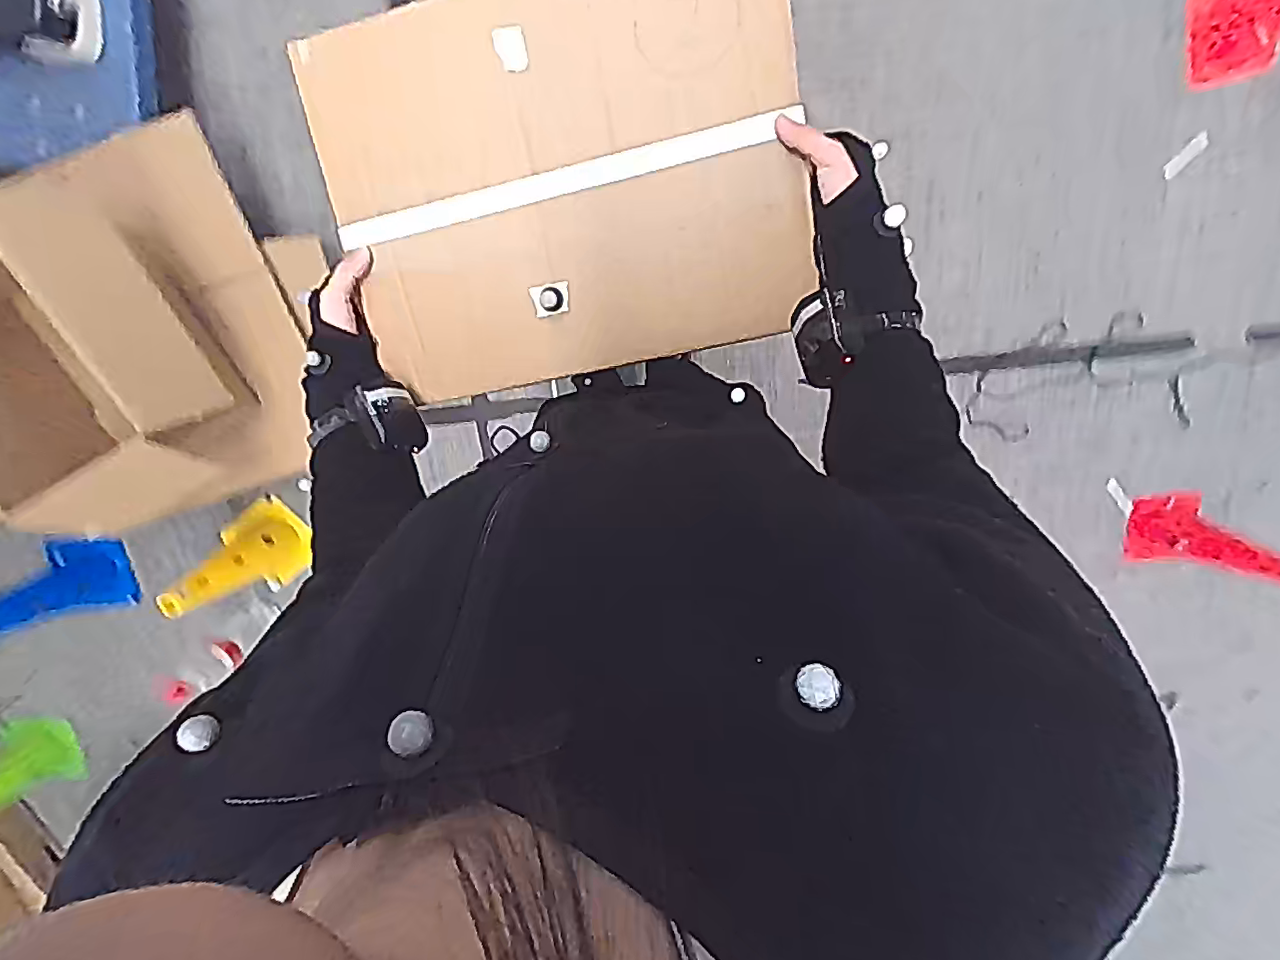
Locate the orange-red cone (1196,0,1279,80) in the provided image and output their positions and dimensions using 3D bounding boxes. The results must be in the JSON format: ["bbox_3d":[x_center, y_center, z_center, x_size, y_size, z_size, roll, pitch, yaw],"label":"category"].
[{"bbox_3d":[1.345,-0.977,1.041,0.198,0.360,0.199,-15,105,1],"label":"orange-red cone"}]
